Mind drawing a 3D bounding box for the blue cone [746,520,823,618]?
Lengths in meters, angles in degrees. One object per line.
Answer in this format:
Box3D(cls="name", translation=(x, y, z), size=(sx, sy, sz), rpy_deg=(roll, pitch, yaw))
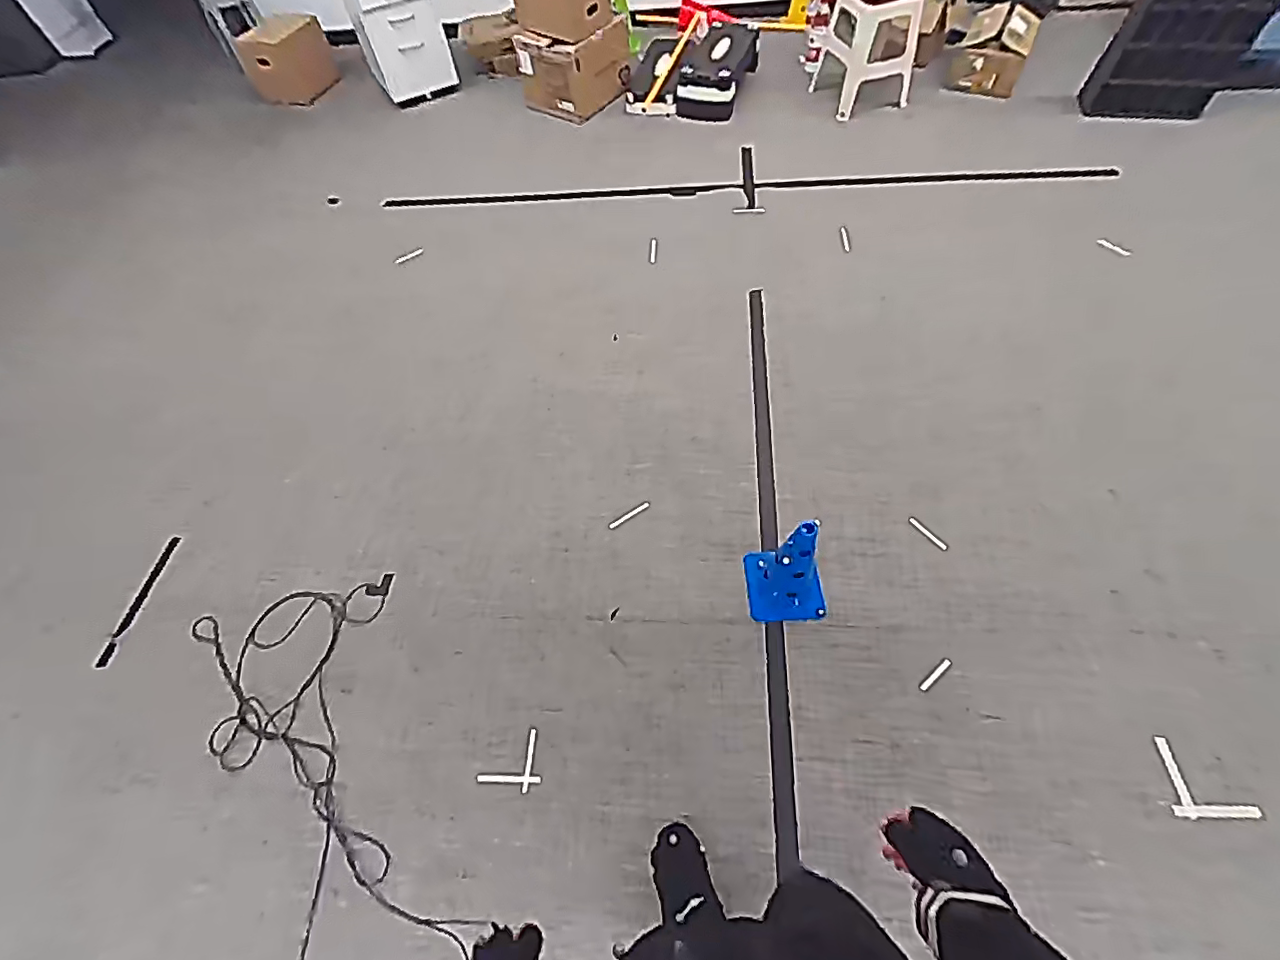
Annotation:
Box3D(cls="blue cone", translation=(0.386, 0.201, 1.350), size=(0.192, 0.380, 0.193), rpy_deg=(-2, 58, 2))
